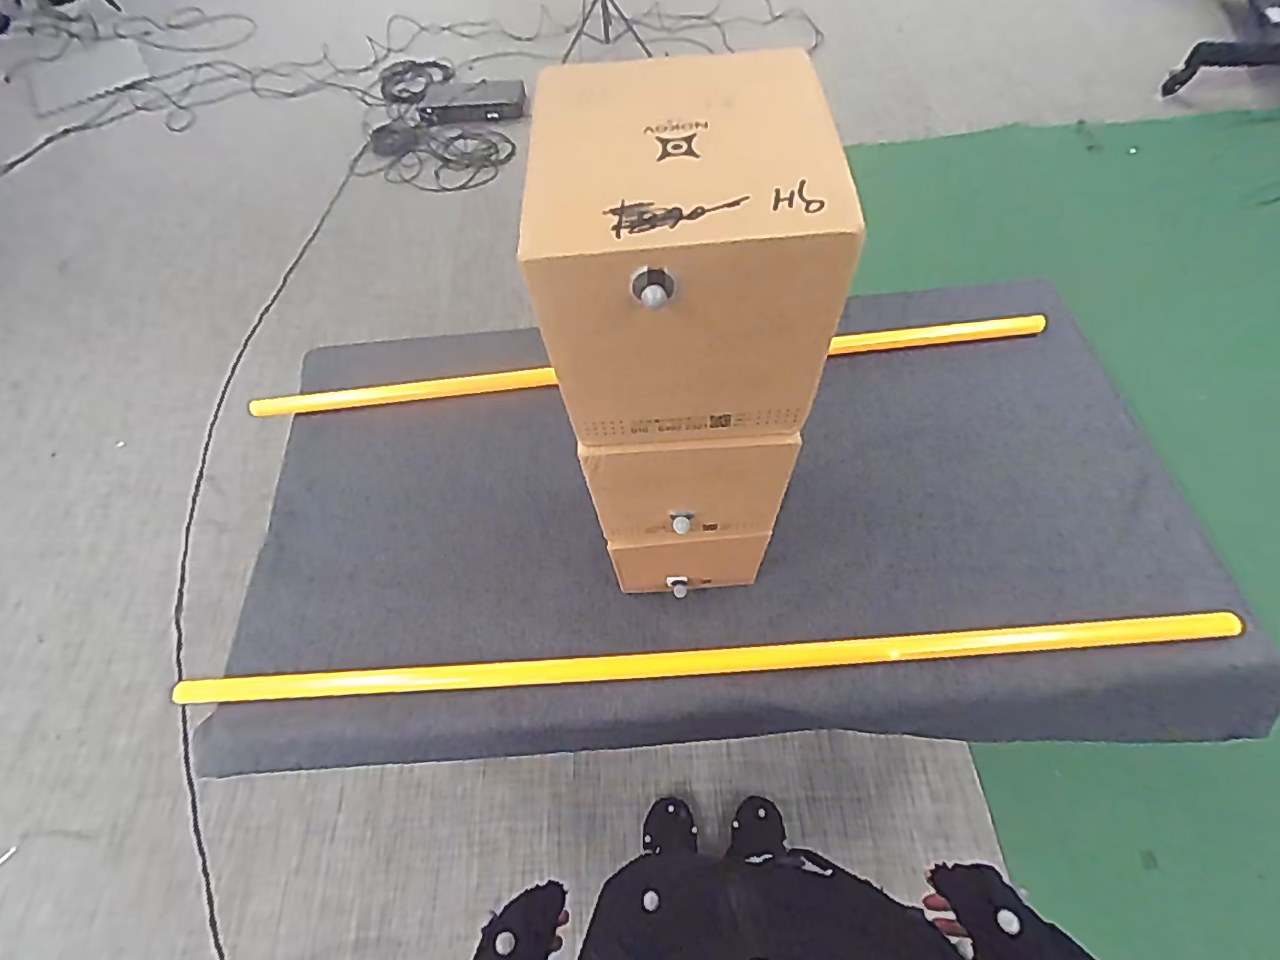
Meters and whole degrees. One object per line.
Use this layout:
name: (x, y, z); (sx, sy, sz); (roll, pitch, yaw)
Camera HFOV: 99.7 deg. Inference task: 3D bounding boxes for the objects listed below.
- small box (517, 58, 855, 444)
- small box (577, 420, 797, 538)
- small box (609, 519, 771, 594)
small box: (0.027, -0.144, 0.369); (0.168, 0.176, 0.179); (-4, 60, 5)
small box: (0.040, -0.059, 0.509); (0.168, 0.176, 0.179); (-3, 62, 4)
small box: (0.051, 0.023, 0.651); (0.168, 0.176, 0.179); (-7, 62, 2)
